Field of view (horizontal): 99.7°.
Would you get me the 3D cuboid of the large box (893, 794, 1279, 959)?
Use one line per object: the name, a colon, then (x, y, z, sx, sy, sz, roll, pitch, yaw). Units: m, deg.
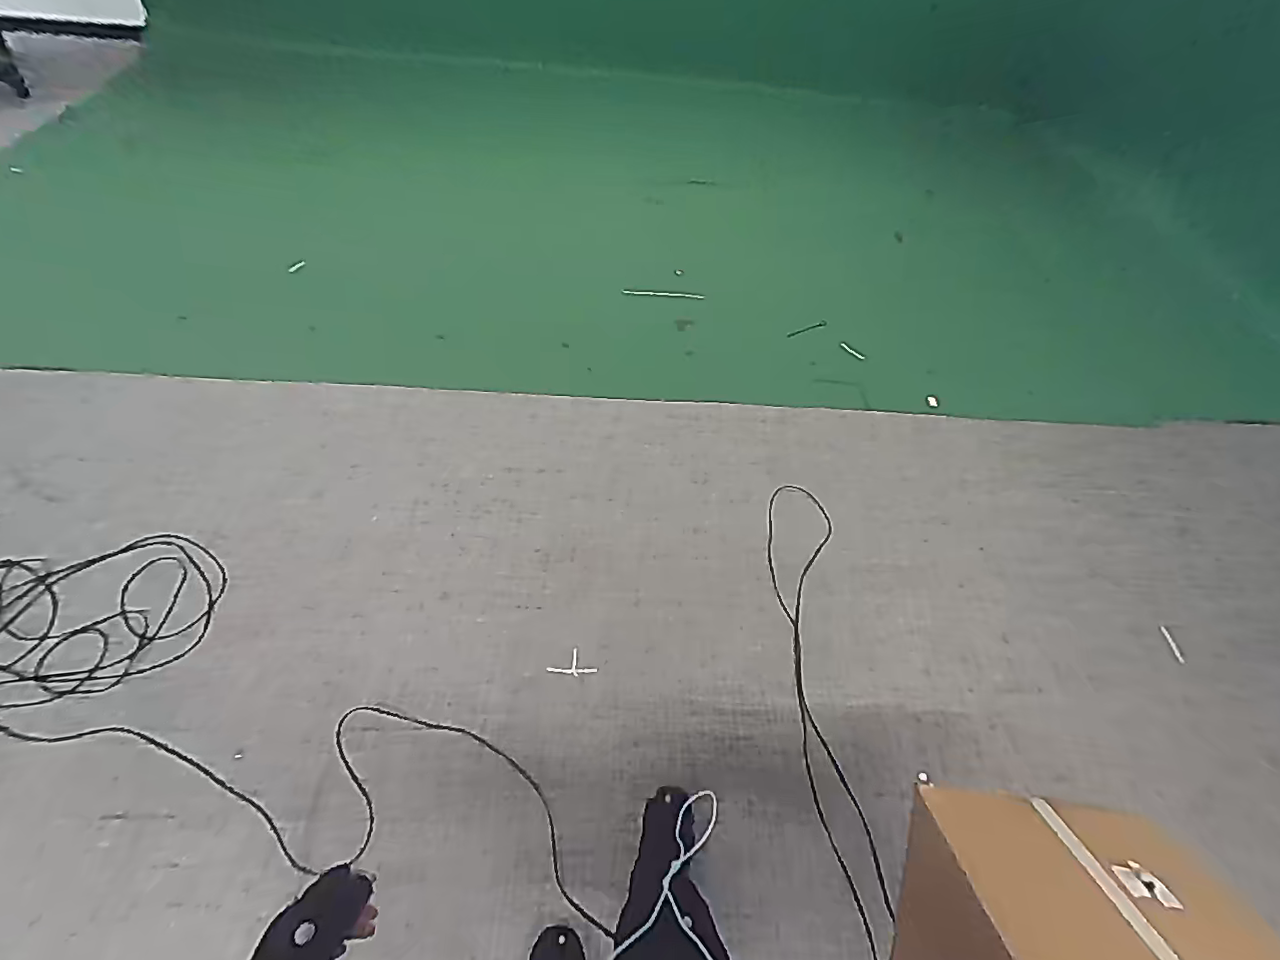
large box: (0.514, 0.637, 0.591, 0.320, 0.408, 0.320, 6, 97, 7)
